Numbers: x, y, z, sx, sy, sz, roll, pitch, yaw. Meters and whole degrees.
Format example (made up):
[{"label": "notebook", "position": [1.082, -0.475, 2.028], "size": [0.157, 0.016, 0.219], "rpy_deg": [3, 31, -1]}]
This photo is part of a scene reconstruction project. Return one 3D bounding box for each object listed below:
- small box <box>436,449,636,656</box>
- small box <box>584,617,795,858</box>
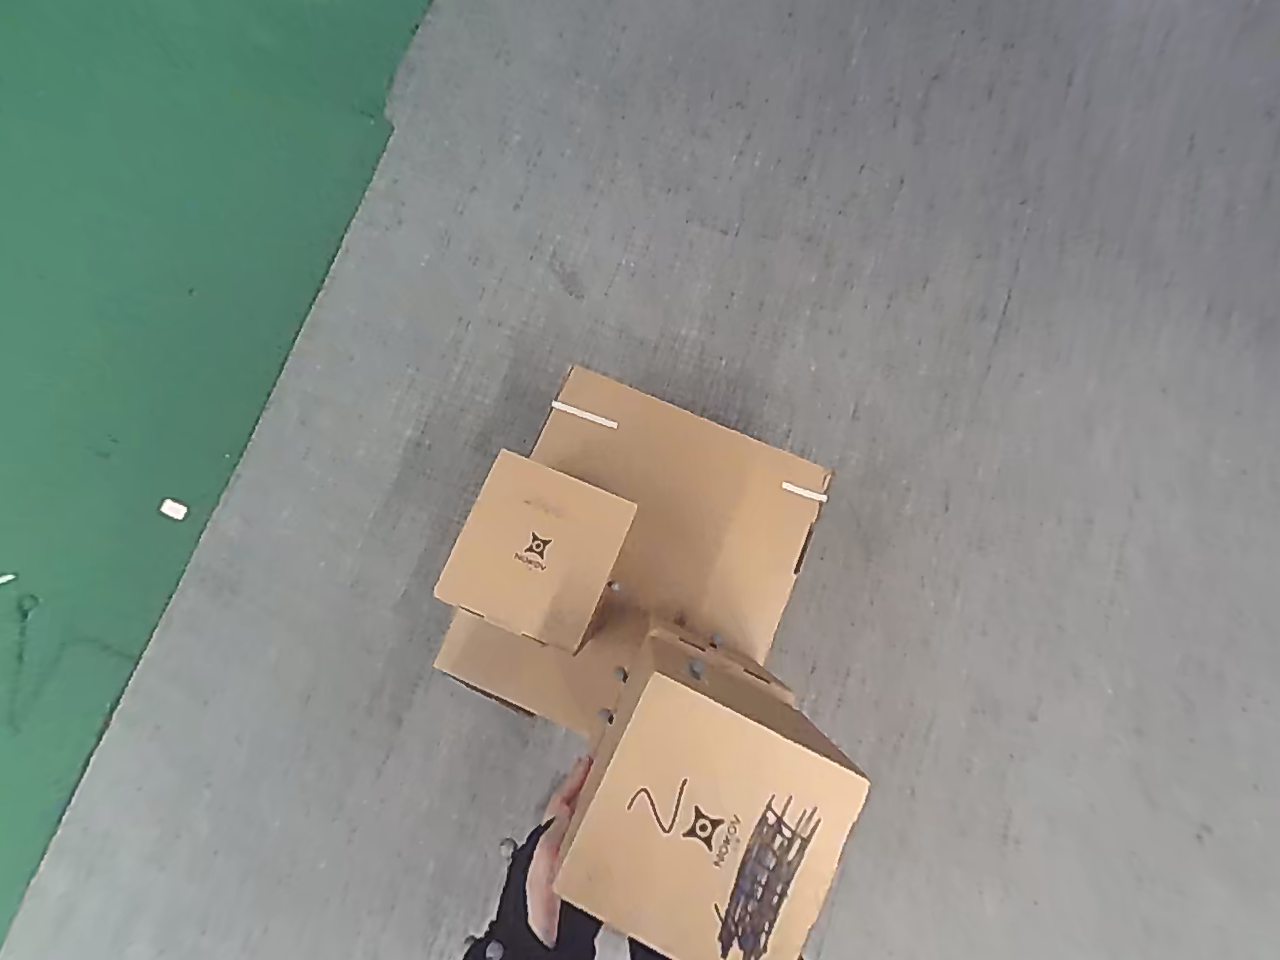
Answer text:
[{"label": "small box", "position": [-0.109, 0.088, 0.656], "size": [0.168, 0.176, 0.179], "rpy_deg": [23, 80, 4]}, {"label": "small box", "position": [0.049, 0.272, 0.623], "size": [0.168, 0.176, 0.179], "rpy_deg": [25, 81, 4]}]
